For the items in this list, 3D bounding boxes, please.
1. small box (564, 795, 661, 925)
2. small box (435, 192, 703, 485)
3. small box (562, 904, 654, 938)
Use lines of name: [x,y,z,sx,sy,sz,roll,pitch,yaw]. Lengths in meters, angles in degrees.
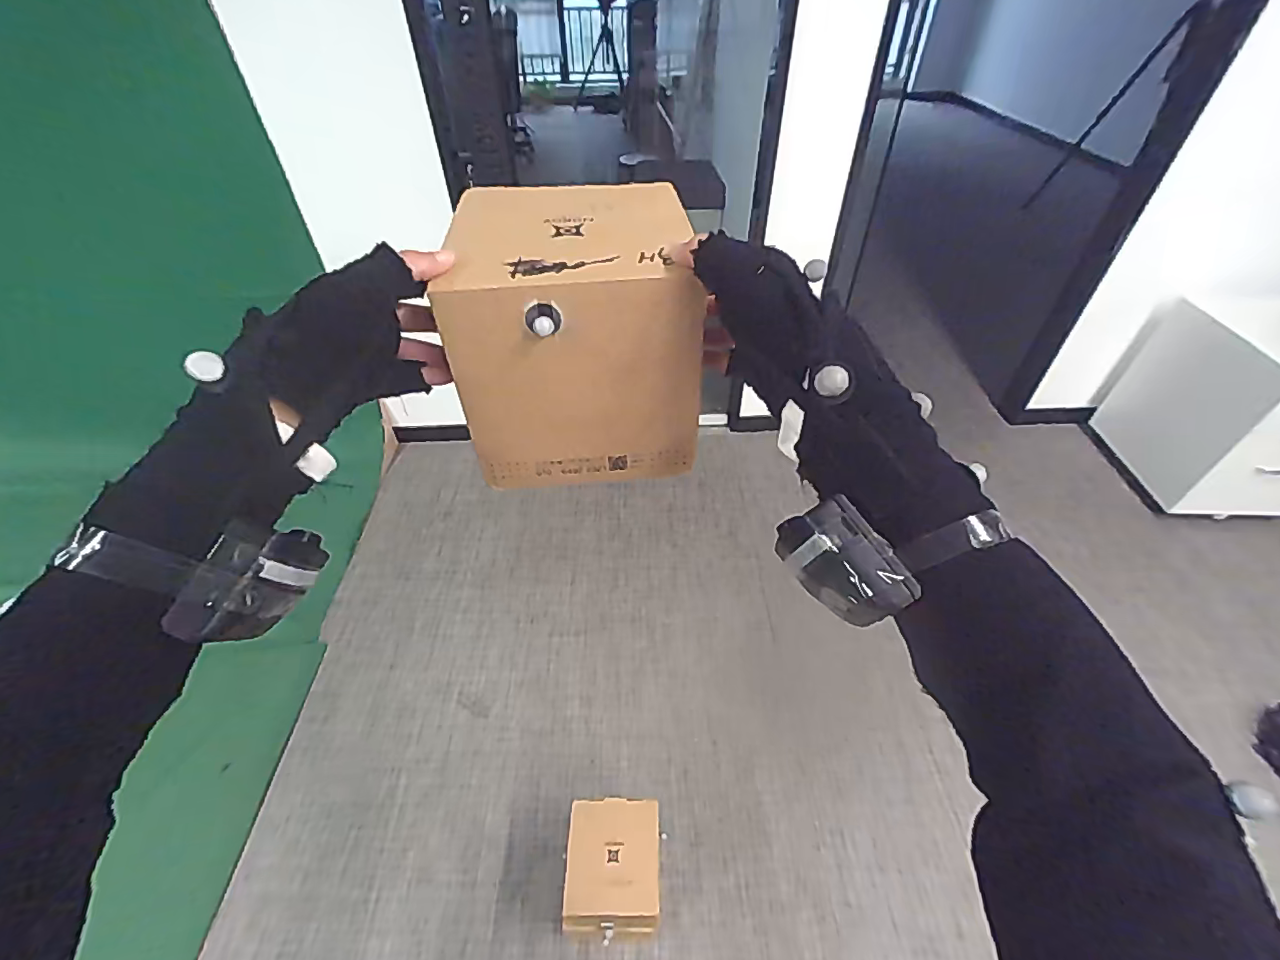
small box: [-0.045,0.721,1.027,0.168,0.176,0.179,-2,45,1]
small box: [-0.048,-0.117,0.440,0.168,0.176,0.179,-5,44,-3]
small box: [-0.058,0.843,1.133,0.179,0.176,0.168,-1,44,2]
